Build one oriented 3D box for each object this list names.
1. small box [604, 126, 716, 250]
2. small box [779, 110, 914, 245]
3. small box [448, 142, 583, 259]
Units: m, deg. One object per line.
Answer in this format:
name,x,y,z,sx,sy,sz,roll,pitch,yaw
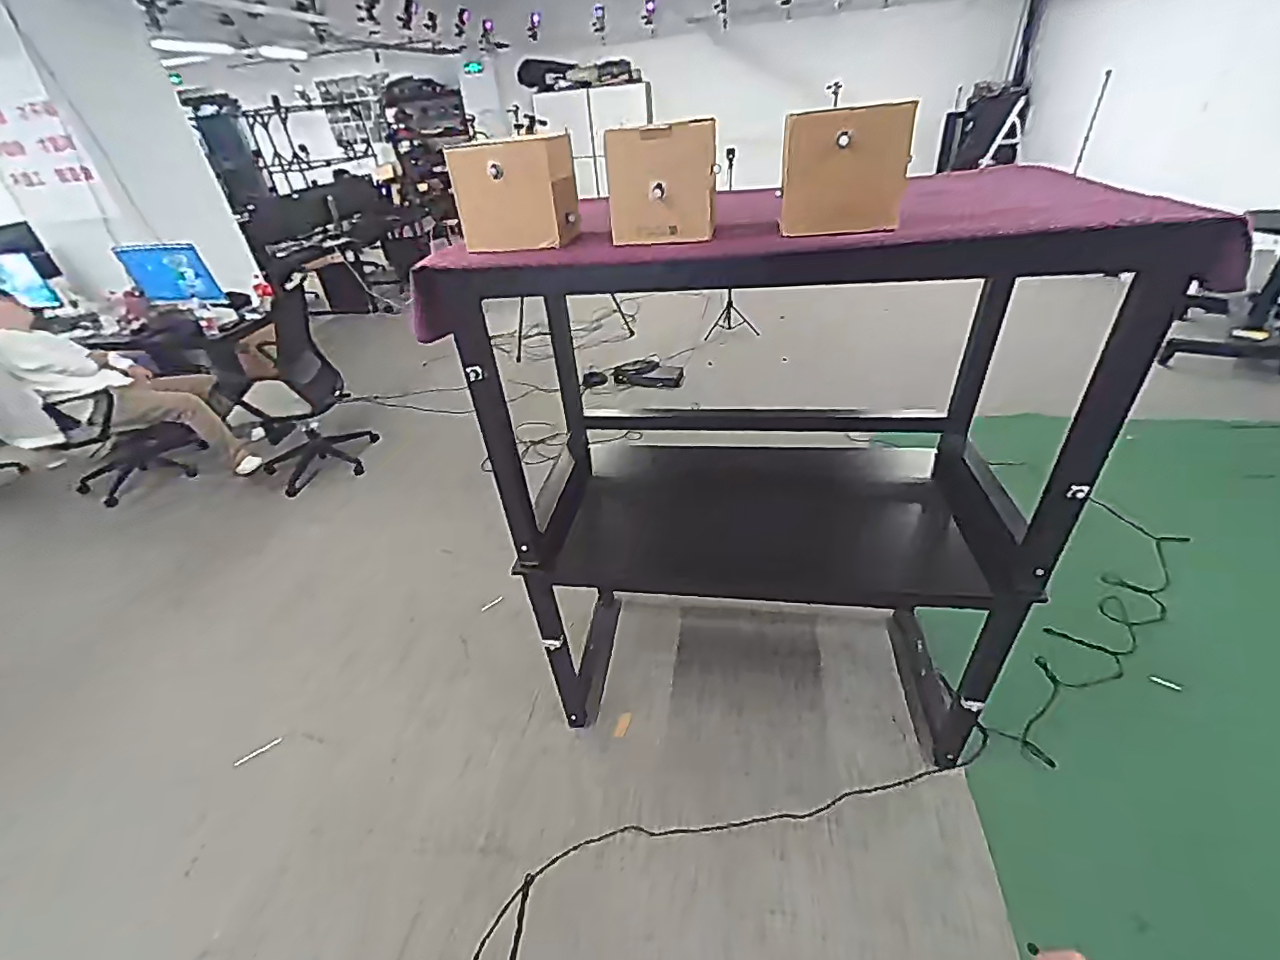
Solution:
small box,0.044,-0.499,0.931,0.168,0.176,0.179,1,34,10
small box,0.321,-0.490,0.879,0.179,0.176,0.168,1,33,12
small box,-0.213,-0.505,0.979,0.179,0.176,0.168,1,35,9
